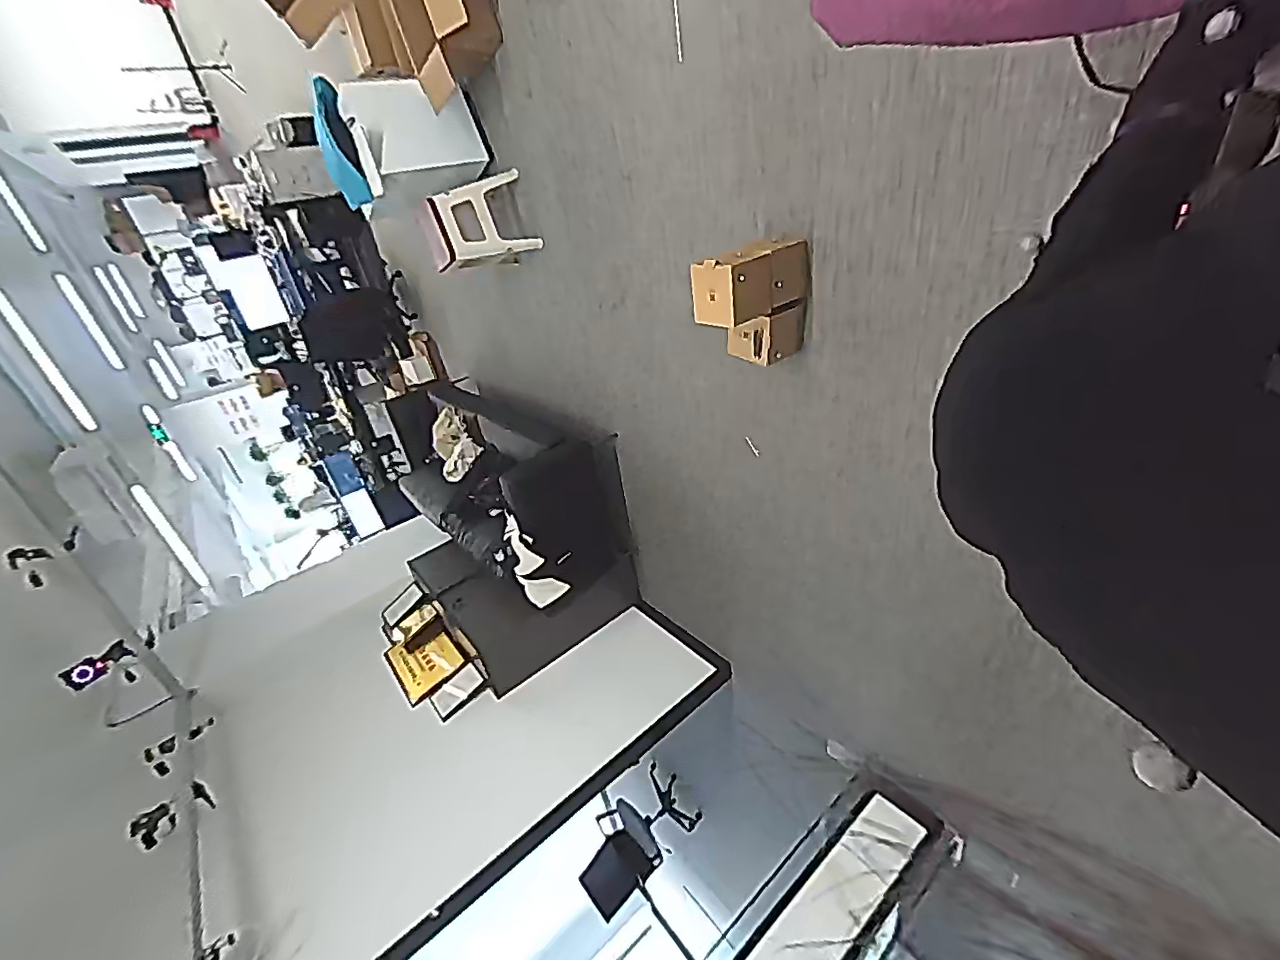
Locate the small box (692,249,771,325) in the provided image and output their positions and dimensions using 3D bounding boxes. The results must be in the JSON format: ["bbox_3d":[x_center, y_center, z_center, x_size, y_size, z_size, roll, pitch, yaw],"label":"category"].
[{"bbox_3d":[0.279,-0.582,1.619,0.168,0.176,0.179,26,134,46],"label":"small box"}]
